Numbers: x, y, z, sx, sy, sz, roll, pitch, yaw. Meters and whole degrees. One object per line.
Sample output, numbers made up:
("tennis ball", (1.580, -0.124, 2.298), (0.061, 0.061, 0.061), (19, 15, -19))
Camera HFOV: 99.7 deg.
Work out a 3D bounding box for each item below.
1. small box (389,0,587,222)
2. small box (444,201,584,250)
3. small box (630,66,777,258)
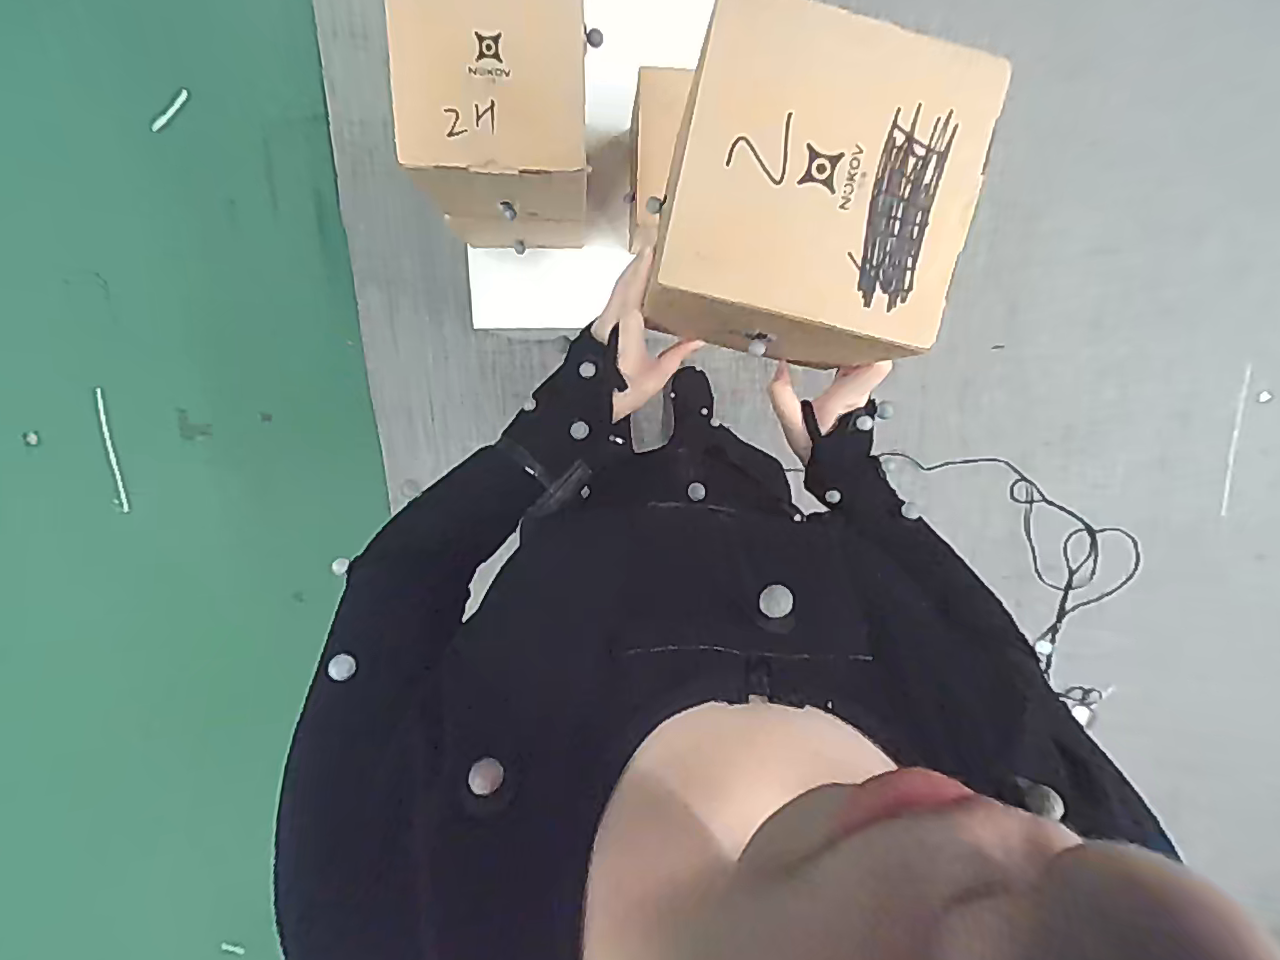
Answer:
("small box", (-0.138, -0.378, 0.545), (0.168, 0.176, 0.179), (0, 103, -5))
("small box", (-0.158, -0.410, 0.705), (0.168, 0.176, 0.179), (-2, 104, -5))
("small box", (0.073, -0.410, 0.726), (0.168, 0.176, 0.179), (0, 103, -4))
